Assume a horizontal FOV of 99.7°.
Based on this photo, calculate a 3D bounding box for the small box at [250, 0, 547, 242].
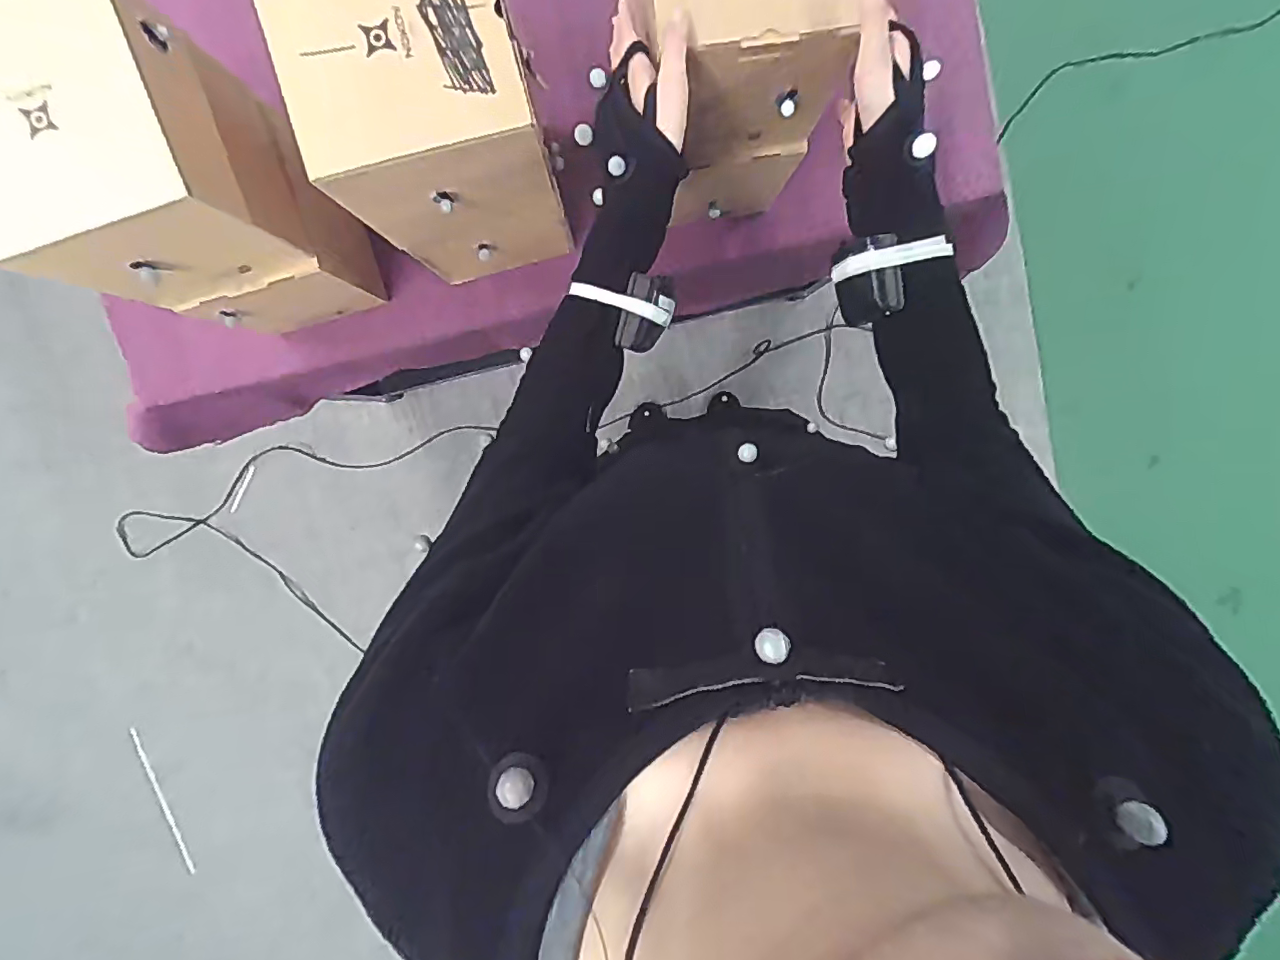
[{"bbox_3d":[-0.186,-0.330,0.469,0.179,0.176,0.168,-13,96,1],"label":"small box"}]

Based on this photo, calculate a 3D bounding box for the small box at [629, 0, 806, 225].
[{"bbox_3d":[0.078,-0.425,0.628,0.168,0.176,0.179,-9,97,1],"label":"small box"}]

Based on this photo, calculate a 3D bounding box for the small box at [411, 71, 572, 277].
[{"bbox_3d":[-0.190,-0.356,0.633,0.179,0.176,0.168,-15,97,1],"label":"small box"}]

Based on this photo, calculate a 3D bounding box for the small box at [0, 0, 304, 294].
[{"bbox_3d":[-0.440,-0.278,0.474,0.168,0.176,0.179,-18,96,1],"label":"small box"}]
